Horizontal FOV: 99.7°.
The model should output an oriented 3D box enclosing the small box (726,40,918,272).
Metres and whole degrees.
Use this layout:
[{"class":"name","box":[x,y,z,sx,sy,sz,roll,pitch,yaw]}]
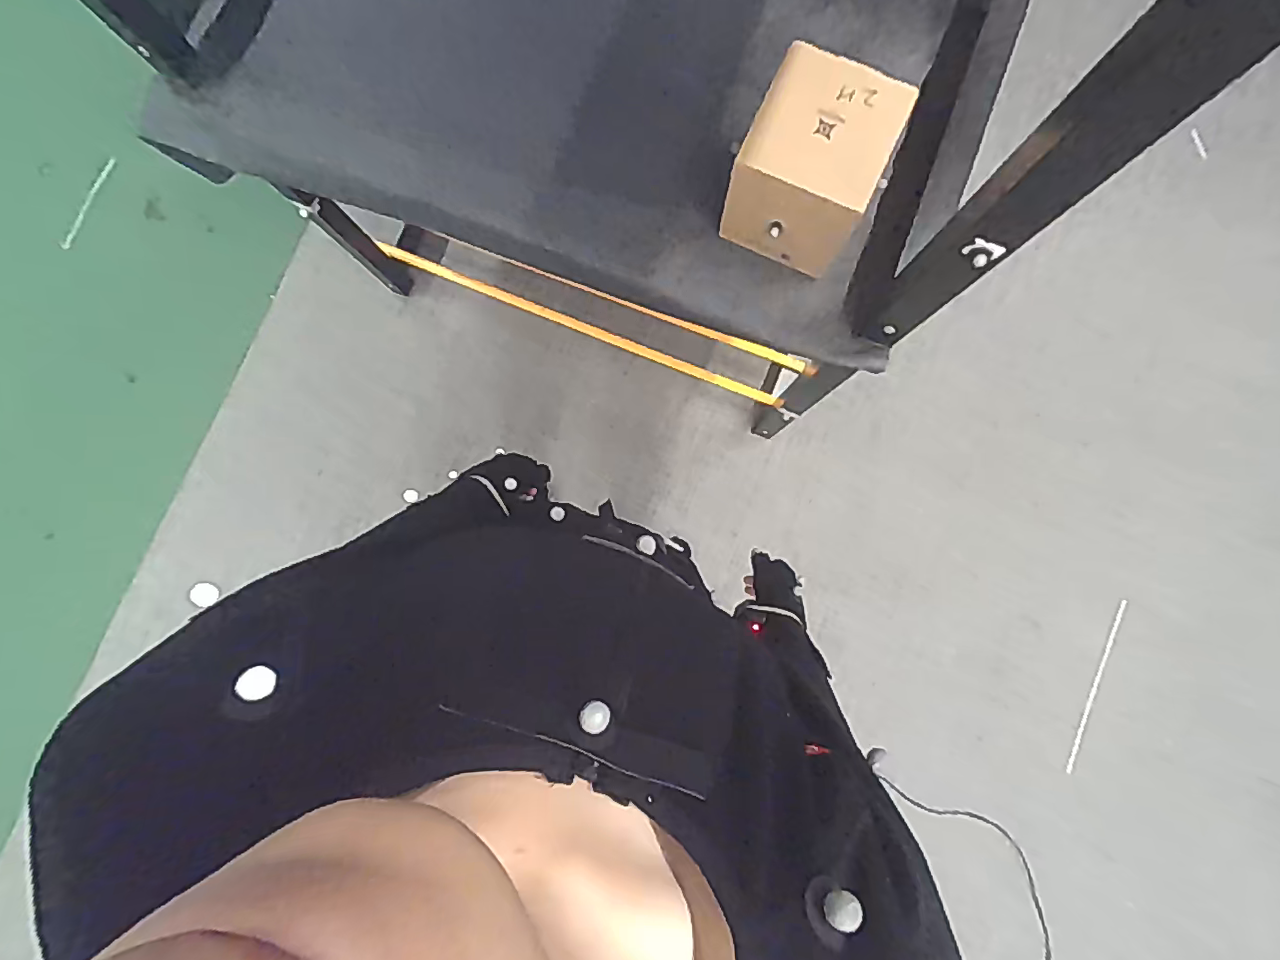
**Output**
[{"class":"small box","box":[0.225,-0.412,0.720,0.168,0.176,0.179,26,85,3]}]
